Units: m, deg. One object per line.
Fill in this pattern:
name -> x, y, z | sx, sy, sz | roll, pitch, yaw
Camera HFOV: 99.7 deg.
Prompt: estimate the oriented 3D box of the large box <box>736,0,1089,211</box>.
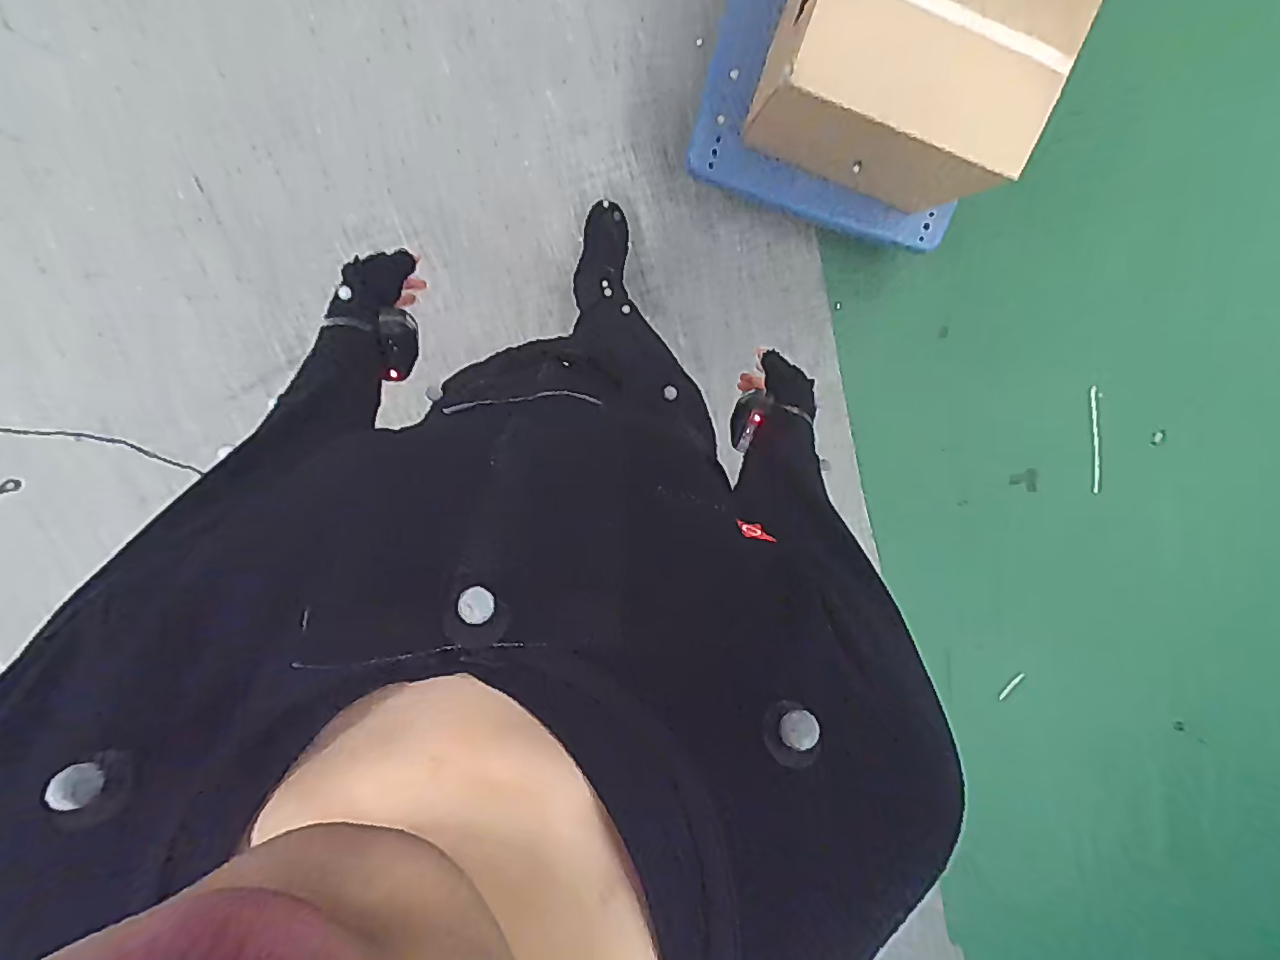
large box -> 0.430, -0.708, 0.930 | 0.408, 0.320, 0.320 | 17, 105, -7
